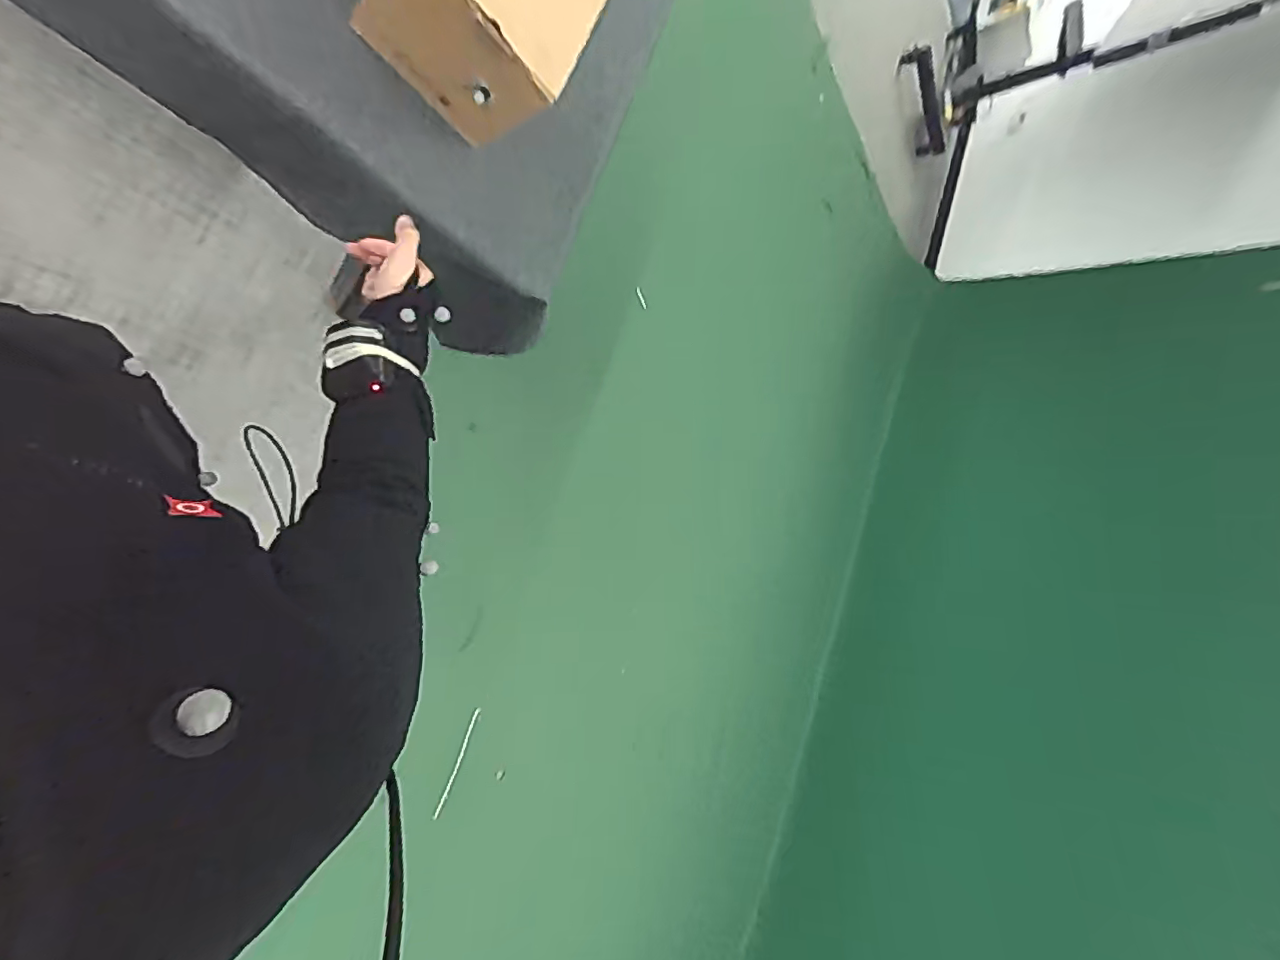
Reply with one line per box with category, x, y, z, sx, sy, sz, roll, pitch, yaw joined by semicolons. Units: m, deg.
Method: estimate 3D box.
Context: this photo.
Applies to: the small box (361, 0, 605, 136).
small box;-0.164;-0.511;0.570;0.168;0.176;0.179;33;72;-47
